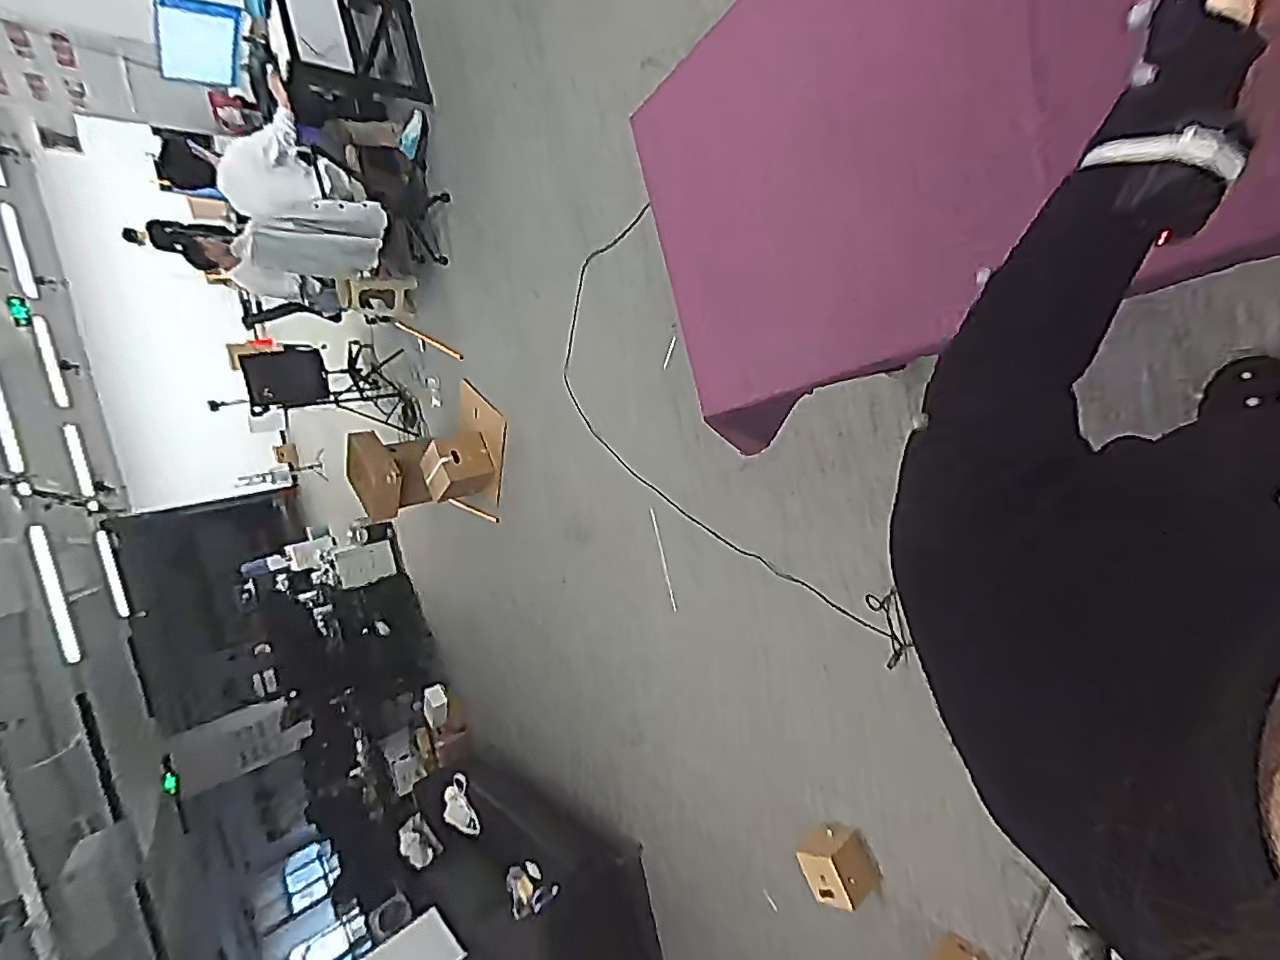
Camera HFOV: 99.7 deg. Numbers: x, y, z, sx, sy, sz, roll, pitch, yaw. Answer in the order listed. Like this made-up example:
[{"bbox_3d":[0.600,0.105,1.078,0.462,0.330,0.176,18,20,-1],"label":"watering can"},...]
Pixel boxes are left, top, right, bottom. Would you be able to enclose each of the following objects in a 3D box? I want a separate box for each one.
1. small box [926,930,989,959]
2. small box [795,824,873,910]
[{"bbox_3d":[0.973,1.545,1.644,0.168,0.176,0.179,13,111,48],"label":"small box"},{"bbox_3d":[0.694,1.370,1.924,0.168,0.176,0.179,-36,74,49],"label":"small box"}]
